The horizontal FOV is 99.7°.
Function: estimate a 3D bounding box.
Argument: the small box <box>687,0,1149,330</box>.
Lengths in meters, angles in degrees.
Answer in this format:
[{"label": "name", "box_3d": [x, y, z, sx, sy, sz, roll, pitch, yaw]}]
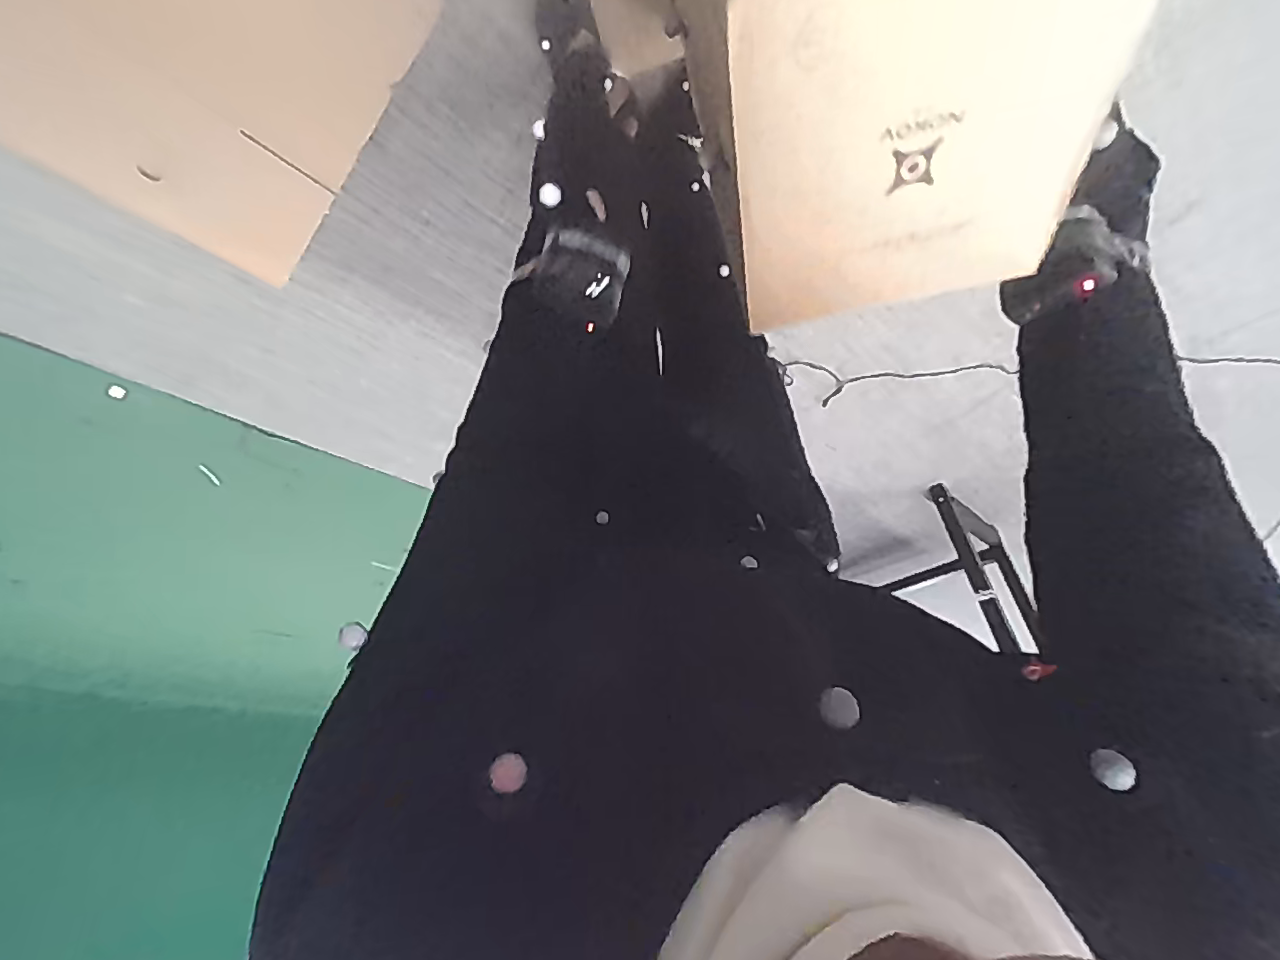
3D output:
[{"label": "small box", "box_3d": [0.121, -0.219, 0.297, 0.168, 0.176, 0.179, -10, 146, 9]}]
